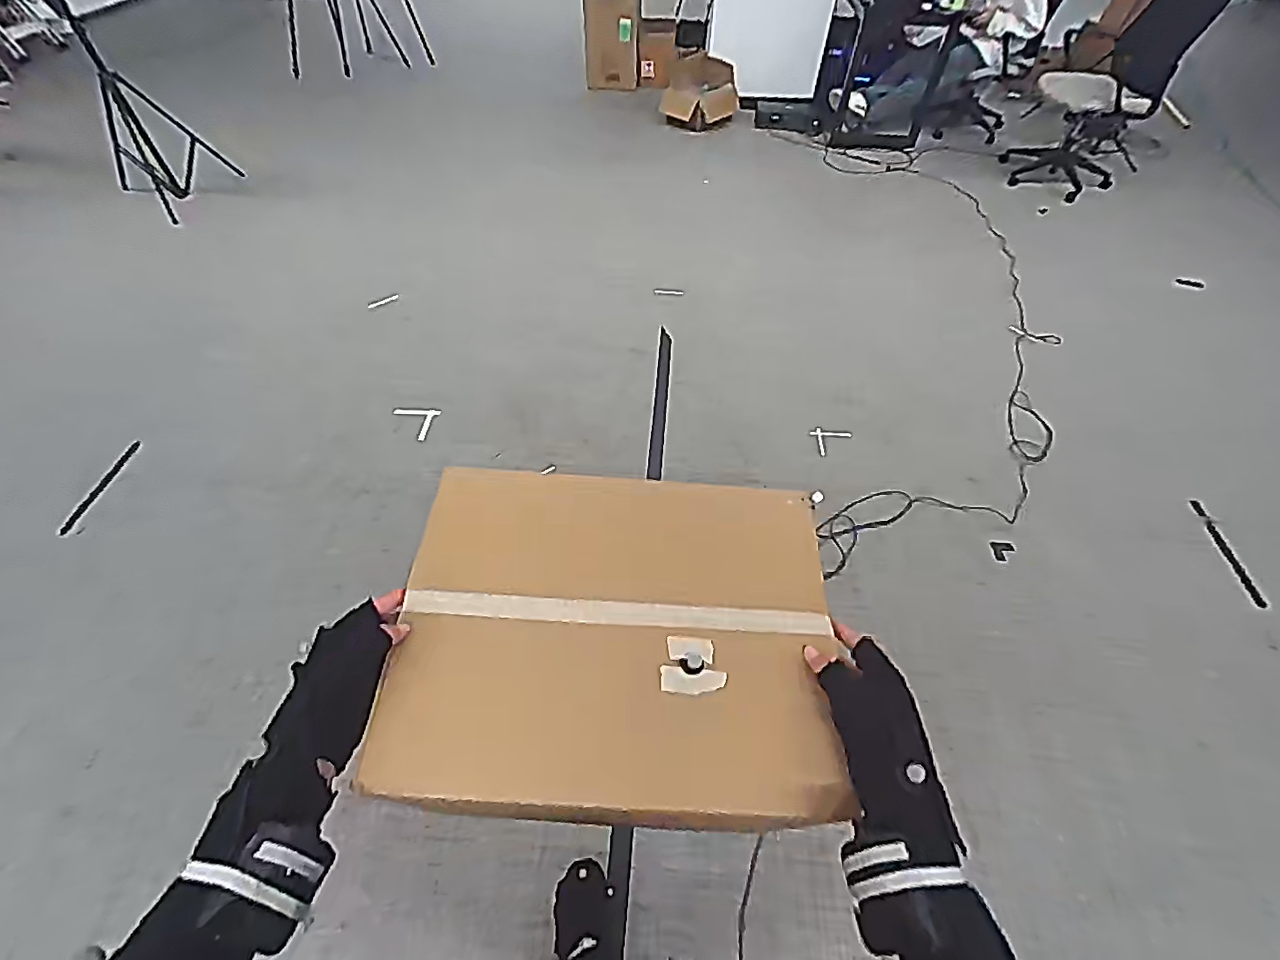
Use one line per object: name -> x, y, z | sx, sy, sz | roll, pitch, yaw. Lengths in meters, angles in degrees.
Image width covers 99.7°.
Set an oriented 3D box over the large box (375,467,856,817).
large box -> -0.025, 0.207, 0.645 | 0.408, 0.320, 0.320 | 4, 56, -2
